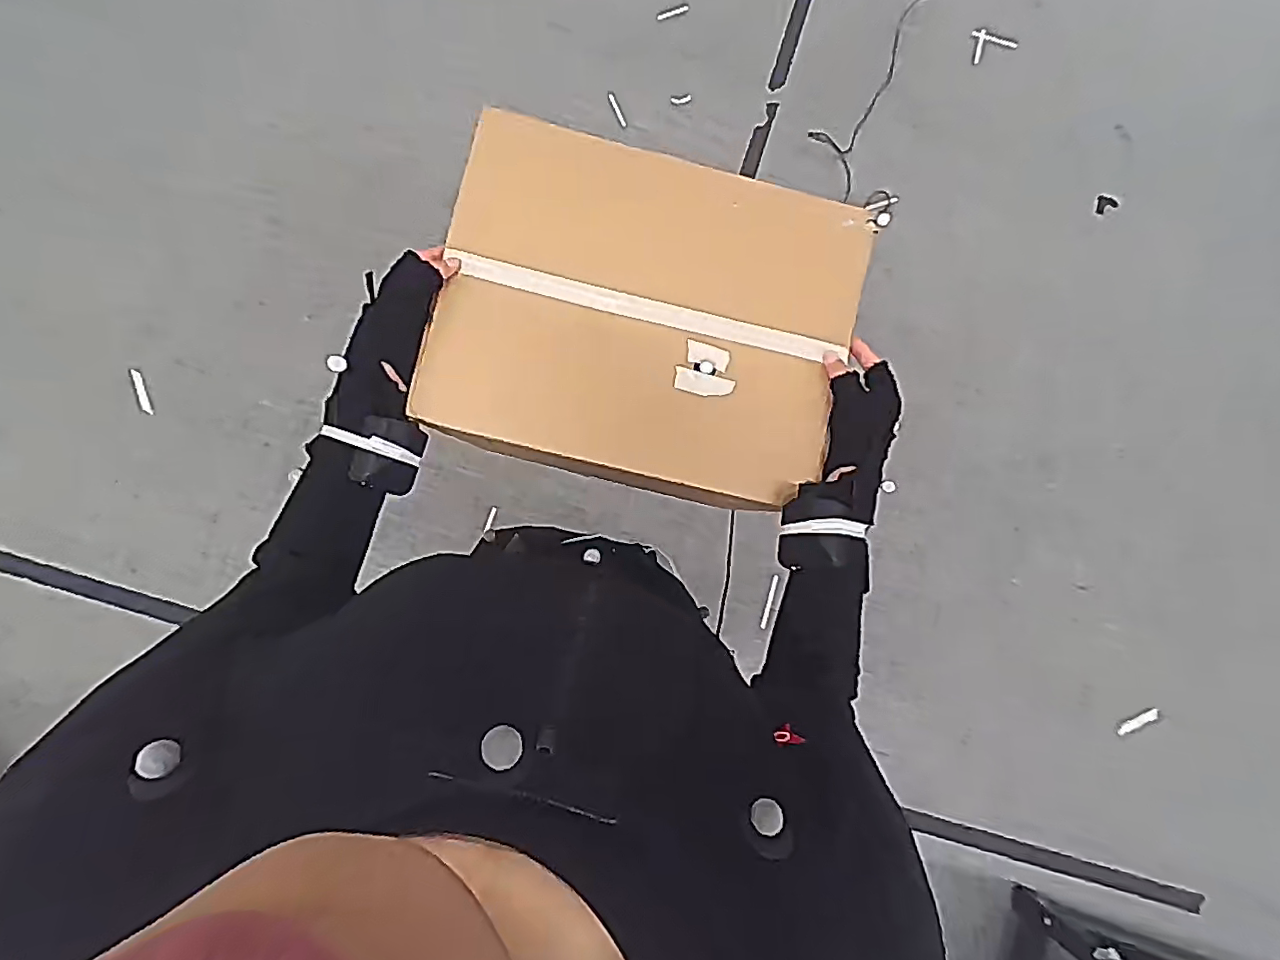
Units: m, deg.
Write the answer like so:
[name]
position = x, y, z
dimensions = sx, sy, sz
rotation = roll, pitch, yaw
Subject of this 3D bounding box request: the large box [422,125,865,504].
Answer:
[large box]
position = -0.002, -0.159, 0.690
dimensions = 0.408, 0.320, 0.320
rotation = 14, 88, -4
